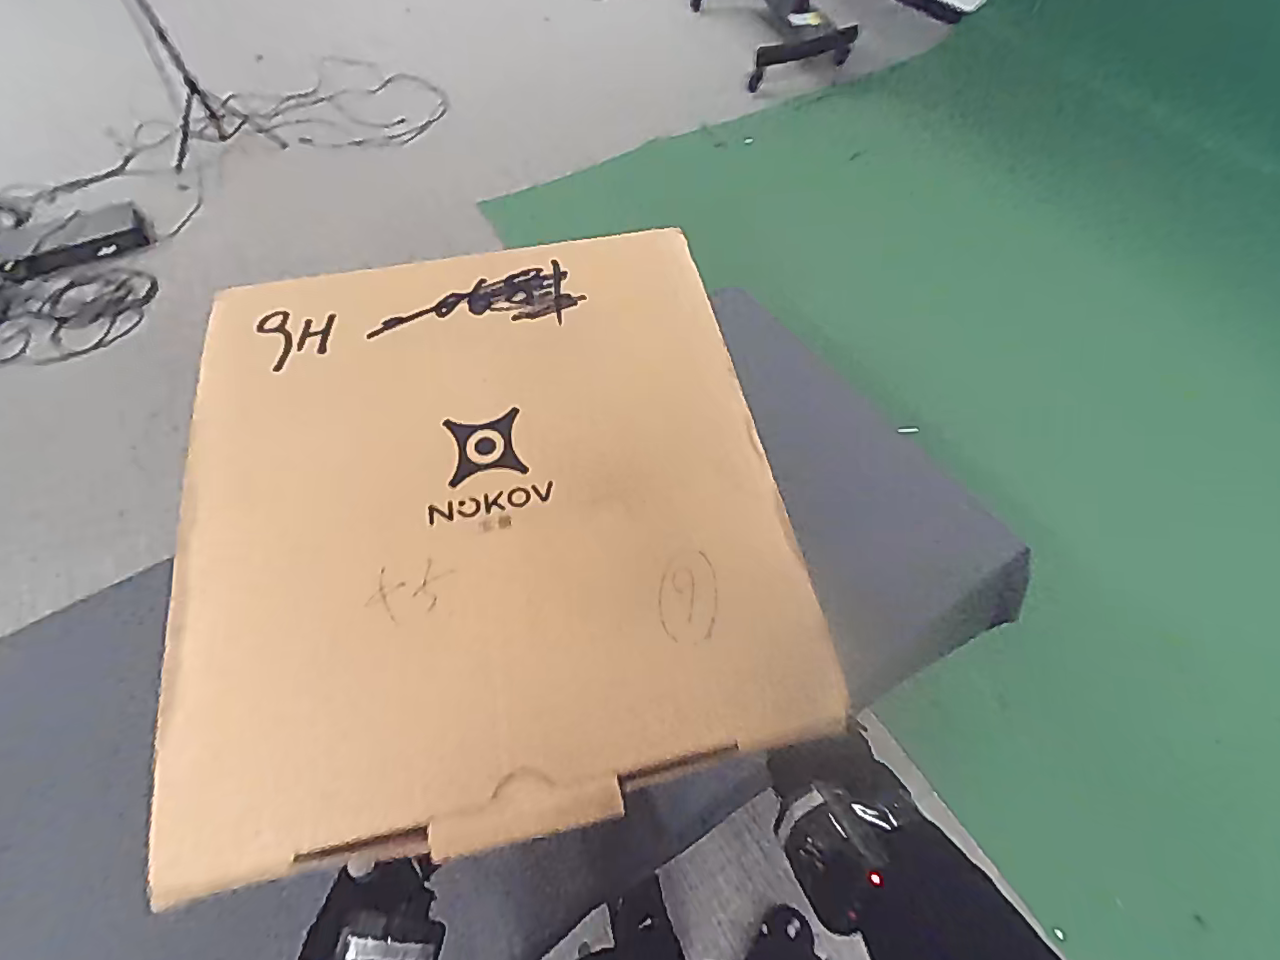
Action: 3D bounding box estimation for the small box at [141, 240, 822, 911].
[{"bbox_3d":[-0.050,0.035,0.232,0.168,0.176,0.179,-10,68,-6],"label":"small box"}]
